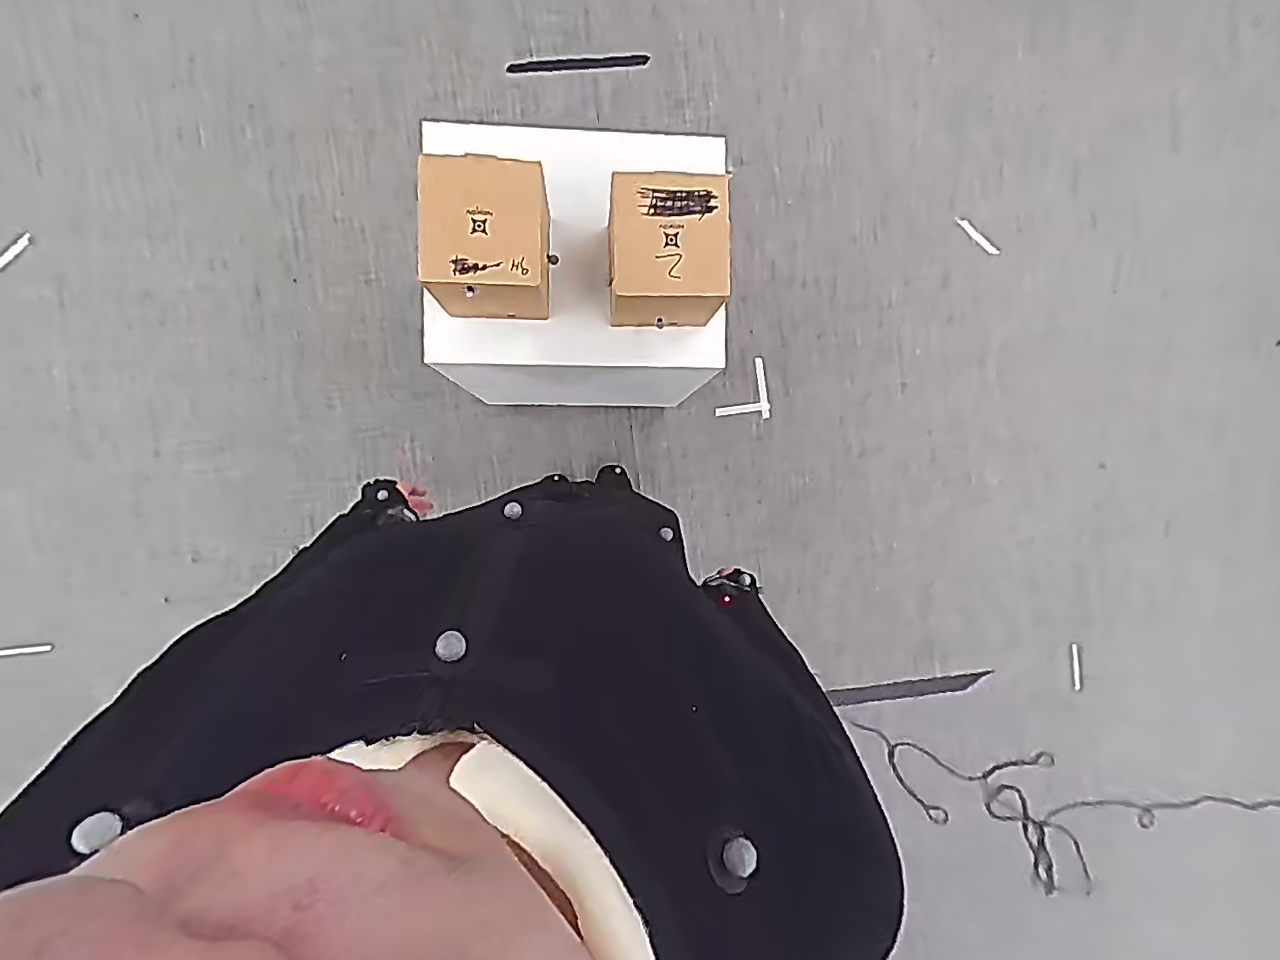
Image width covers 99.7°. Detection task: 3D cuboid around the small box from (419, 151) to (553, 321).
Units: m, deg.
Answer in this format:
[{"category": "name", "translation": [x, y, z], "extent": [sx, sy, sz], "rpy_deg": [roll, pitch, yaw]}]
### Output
[{"category": "small box", "translation": [-0.222, -0.355, 0.814], "extent": [0.168, 0.176, 0.179], "rpy_deg": [1, 90, -5]}]
